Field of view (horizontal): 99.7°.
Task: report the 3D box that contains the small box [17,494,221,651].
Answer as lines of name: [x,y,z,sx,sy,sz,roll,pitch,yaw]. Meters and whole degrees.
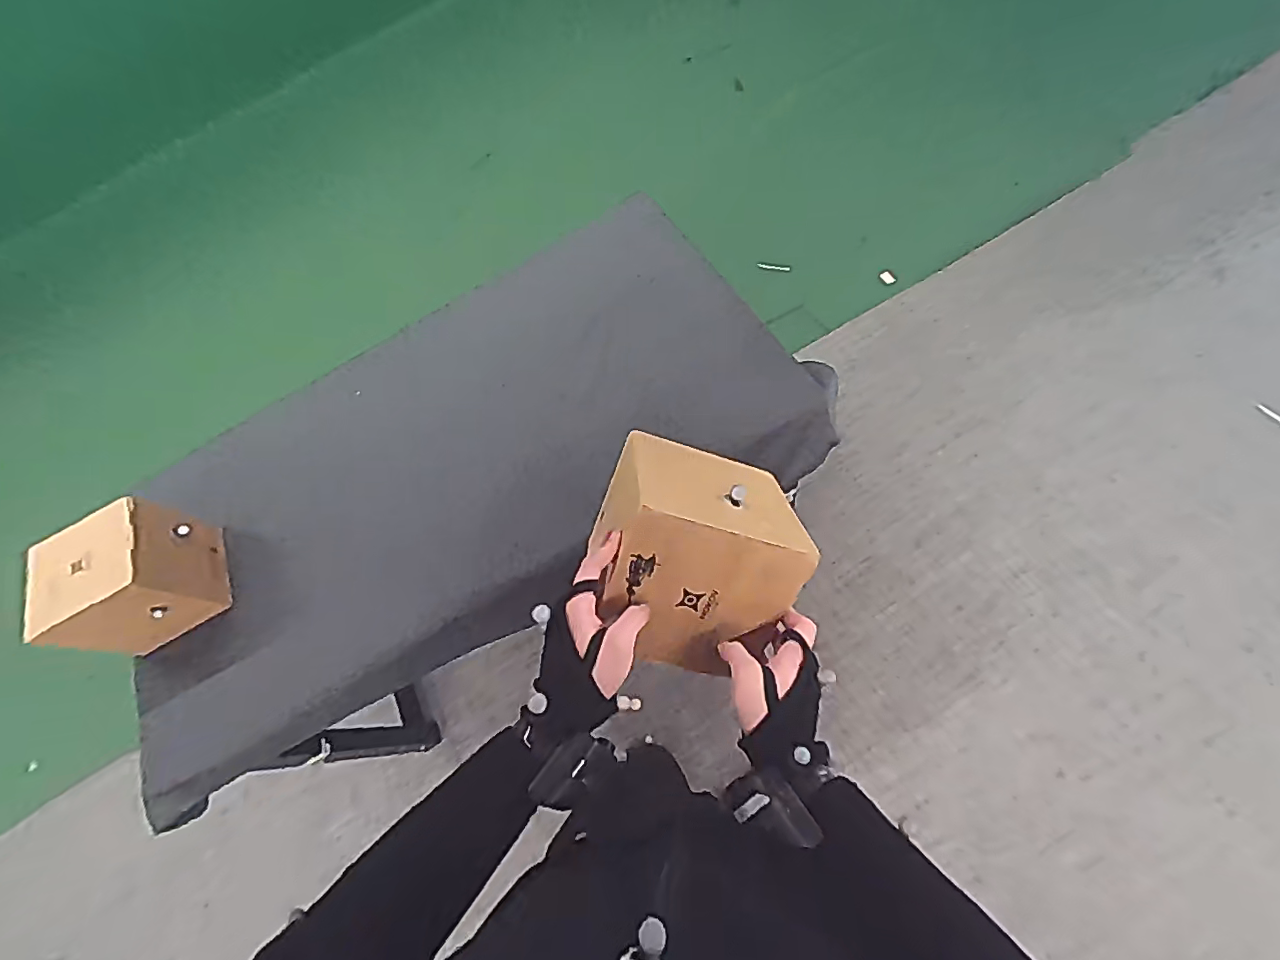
small box: [-0.815,0.155,0.868,0.179,0.176,0.168,-28,62,-1]

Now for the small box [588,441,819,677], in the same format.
small box: [0.051,0.077,0.580,0.179,0.168,0.176,16,26,-13]
